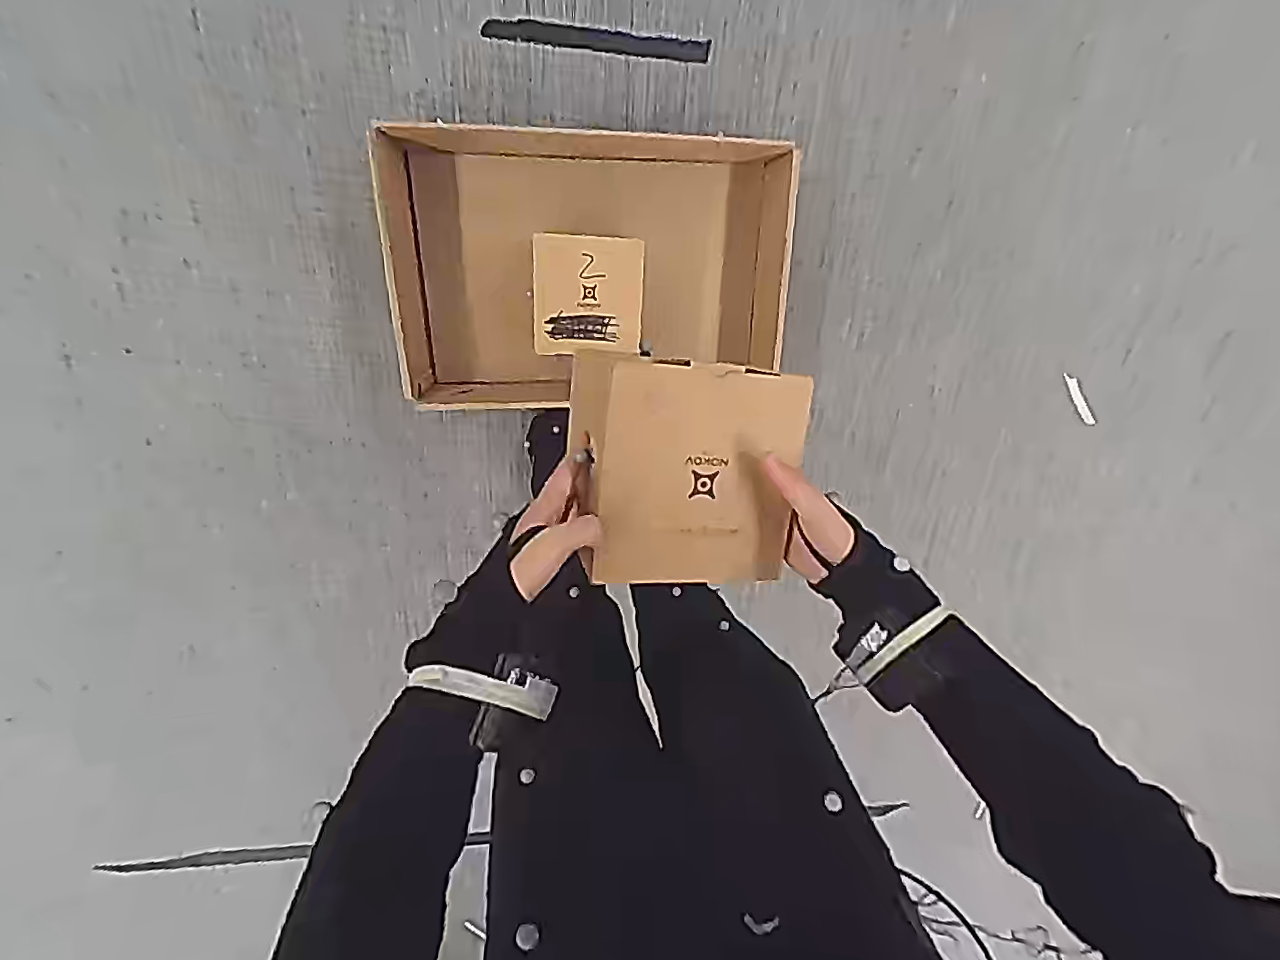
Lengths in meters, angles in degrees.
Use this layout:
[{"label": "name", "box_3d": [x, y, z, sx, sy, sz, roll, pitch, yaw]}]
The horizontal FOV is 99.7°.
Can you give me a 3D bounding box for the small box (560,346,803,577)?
[{"label": "small box", "box_3d": [0.021, -0.026, 0.504, 0.168, 0.176, 0.179, 2, 107, -17]}]
